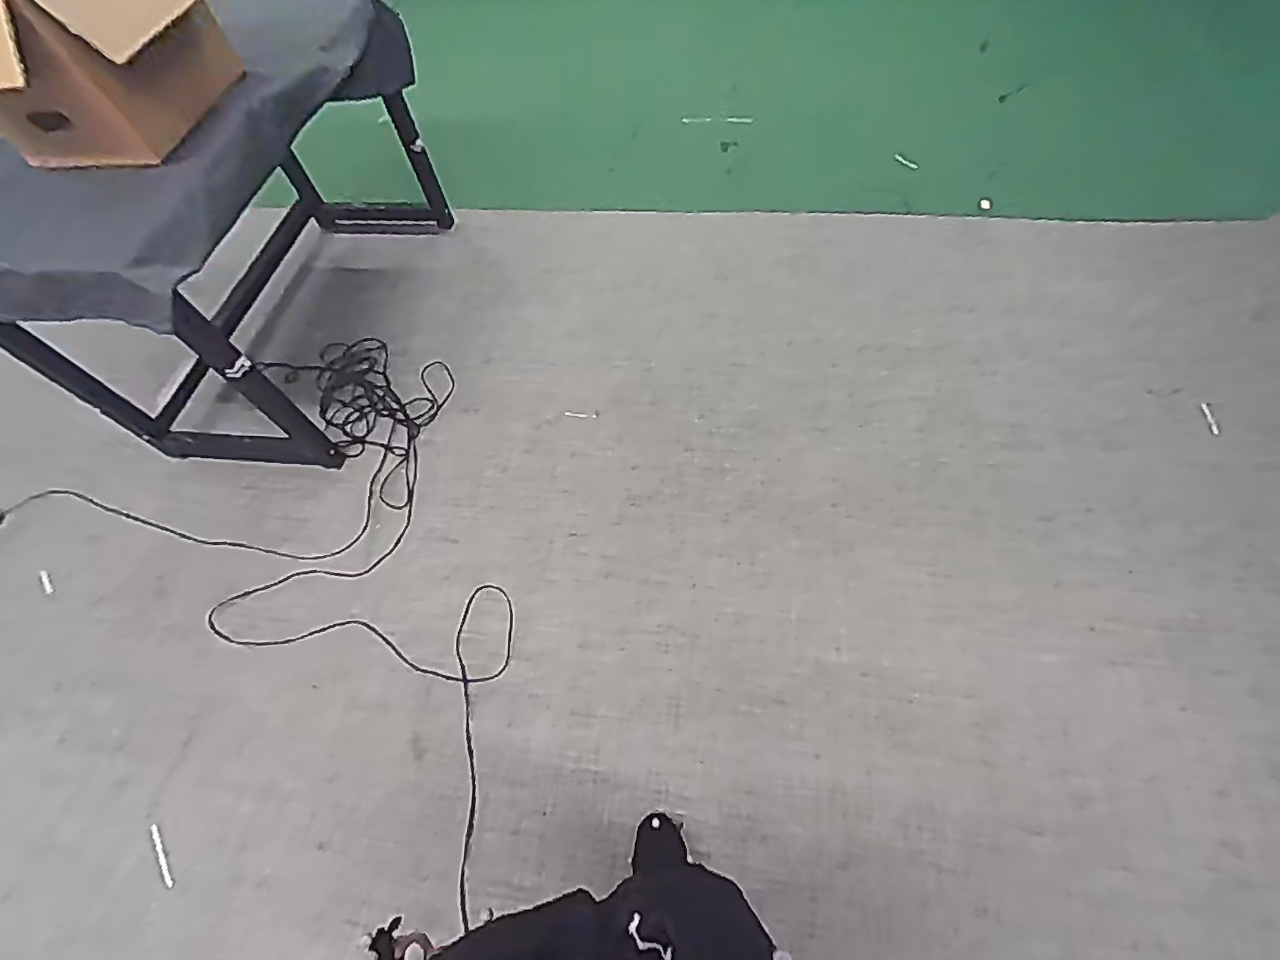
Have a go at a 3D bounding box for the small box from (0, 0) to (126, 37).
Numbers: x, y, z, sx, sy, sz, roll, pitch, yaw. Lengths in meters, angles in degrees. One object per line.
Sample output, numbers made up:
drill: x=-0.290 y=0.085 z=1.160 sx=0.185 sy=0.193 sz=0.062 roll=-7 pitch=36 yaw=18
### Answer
small box: x=-1.151 y=-0.979 z=1.027 sx=0.168 sy=0.176 sz=0.179 roll=3 pitch=61 yaw=7
